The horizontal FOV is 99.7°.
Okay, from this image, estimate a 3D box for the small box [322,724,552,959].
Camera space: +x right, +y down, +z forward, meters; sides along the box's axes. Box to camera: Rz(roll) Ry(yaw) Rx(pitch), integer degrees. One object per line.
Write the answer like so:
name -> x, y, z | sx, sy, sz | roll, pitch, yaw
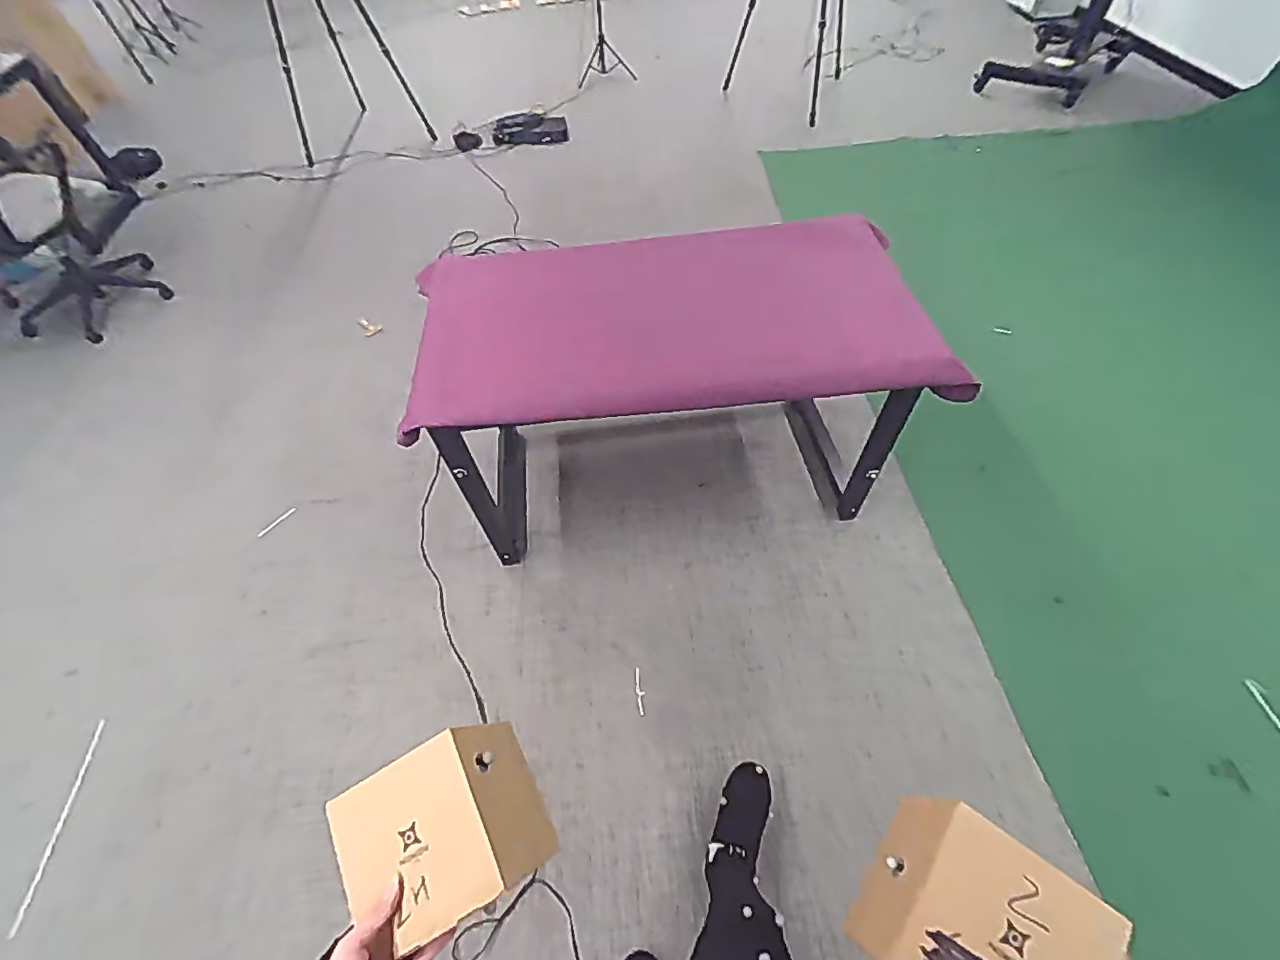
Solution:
small box -> -0.230, 0.412, 0.641 | 0.168, 0.176, 0.179 | -31, 66, -1
